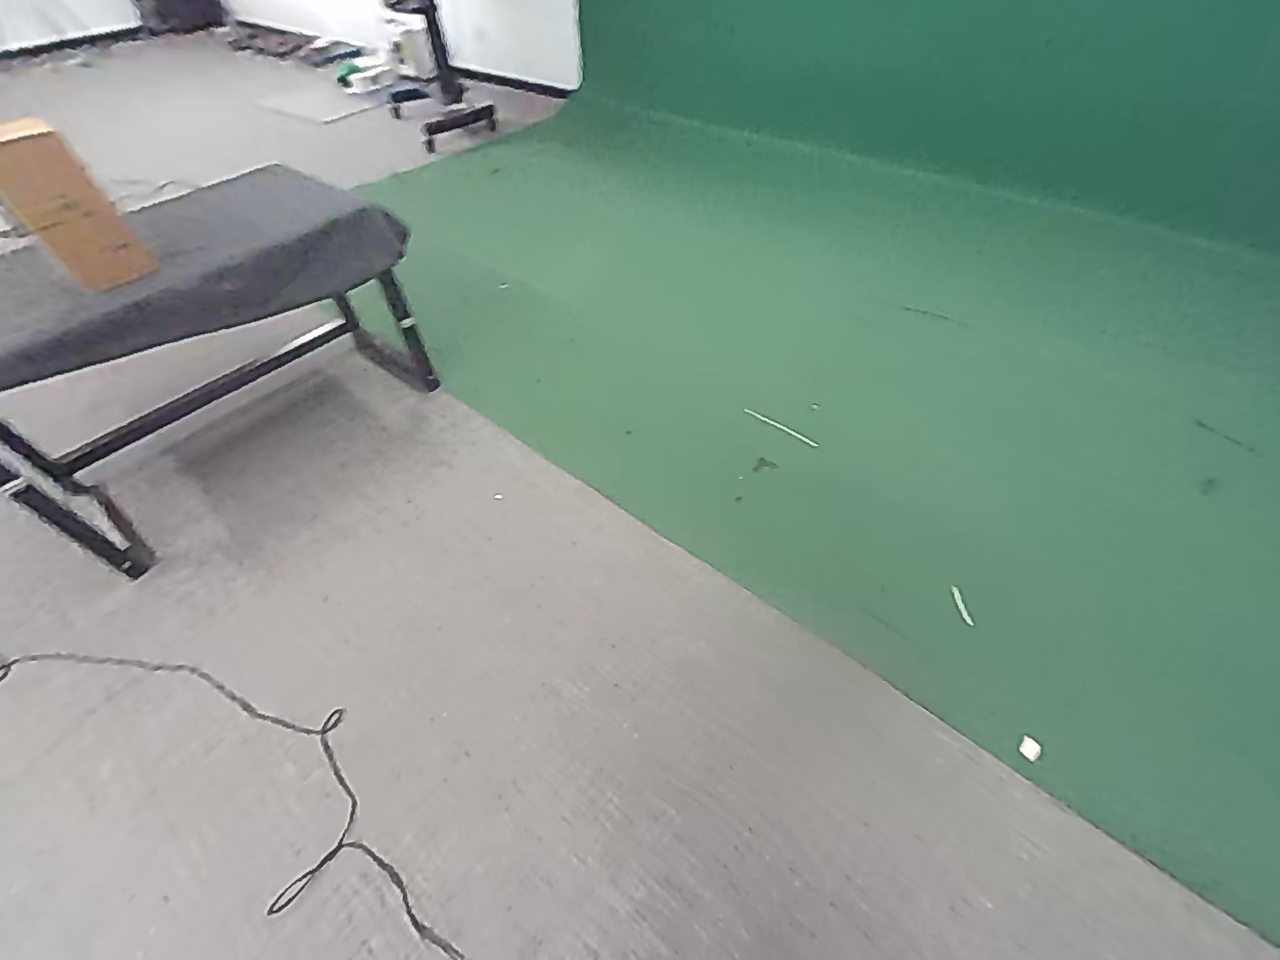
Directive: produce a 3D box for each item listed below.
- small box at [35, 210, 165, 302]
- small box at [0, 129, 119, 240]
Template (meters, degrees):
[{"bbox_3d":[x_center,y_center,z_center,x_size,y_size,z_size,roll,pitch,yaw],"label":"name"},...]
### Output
[{"bbox_3d":[-1.391,-0.593,1.402,0.168,0.176,0.179,29,58,27],"label":"small box"},{"bbox_3d":[-1.401,-0.699,1.281,0.168,0.176,0.179,29,57,25],"label":"small box"}]
